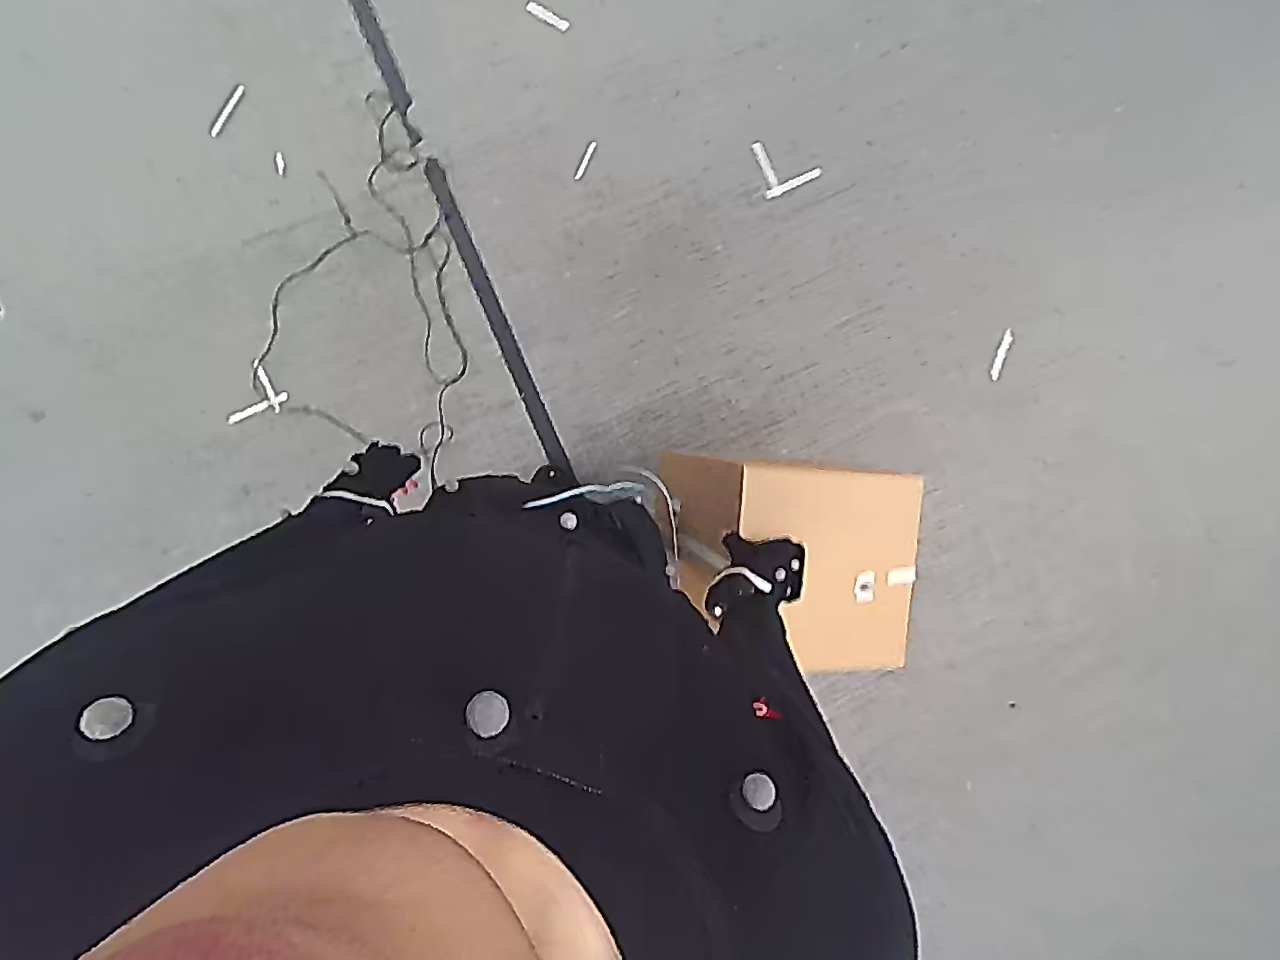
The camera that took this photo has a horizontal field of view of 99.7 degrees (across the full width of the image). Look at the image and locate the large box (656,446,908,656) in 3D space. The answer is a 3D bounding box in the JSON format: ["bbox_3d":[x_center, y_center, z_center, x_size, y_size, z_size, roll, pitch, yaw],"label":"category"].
[{"bbox_3d":[0.236,0.100,1.021,0.320,0.408,0.320,2,96,-14],"label":"large box"}]
